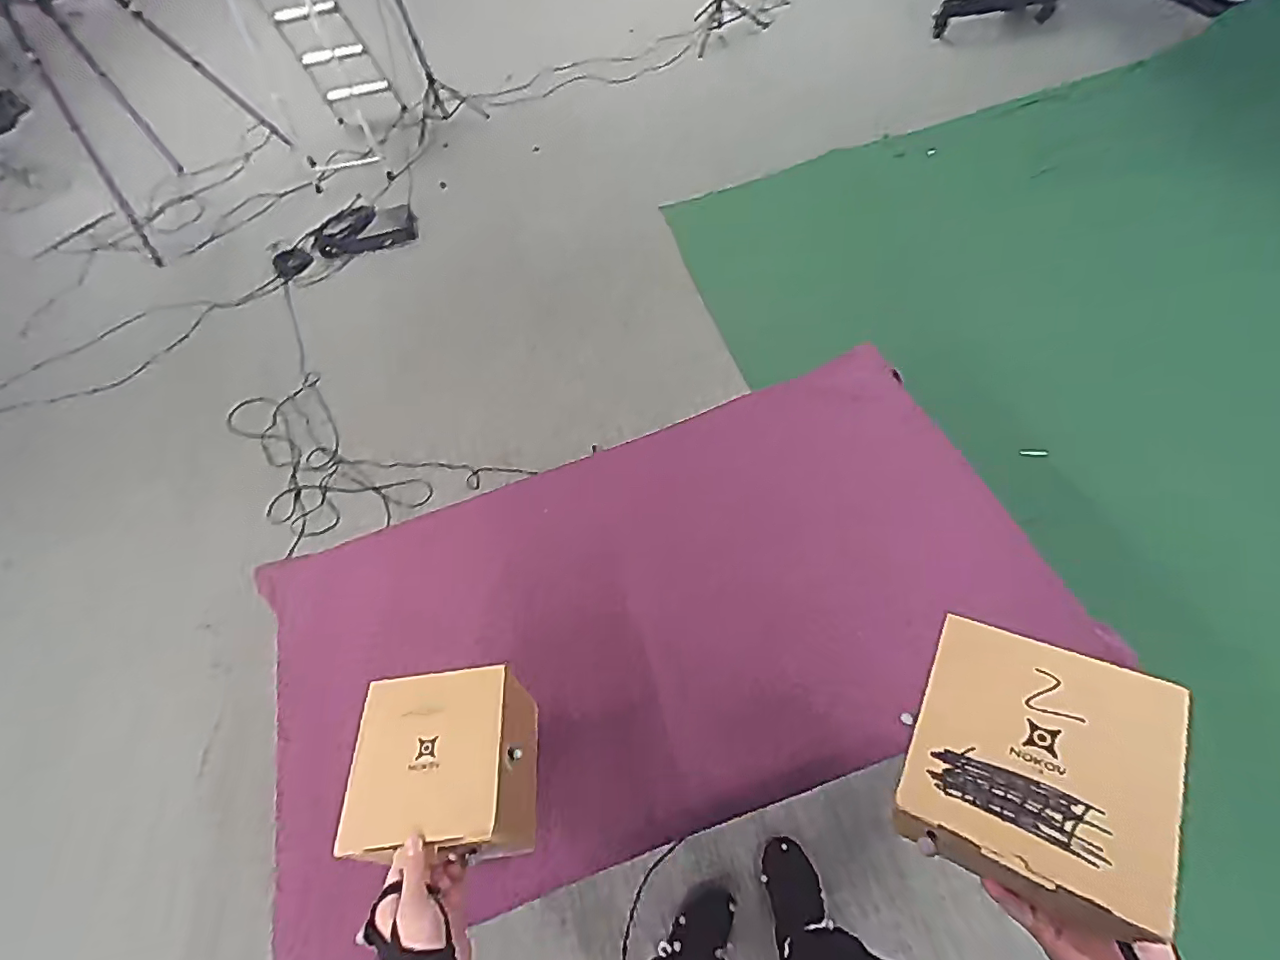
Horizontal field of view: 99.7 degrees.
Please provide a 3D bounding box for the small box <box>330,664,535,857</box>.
[{"bbox_3d":[-0.228,0.343,0.653,0.168,0.176,0.179,-6,51,2],"label":"small box"}]
